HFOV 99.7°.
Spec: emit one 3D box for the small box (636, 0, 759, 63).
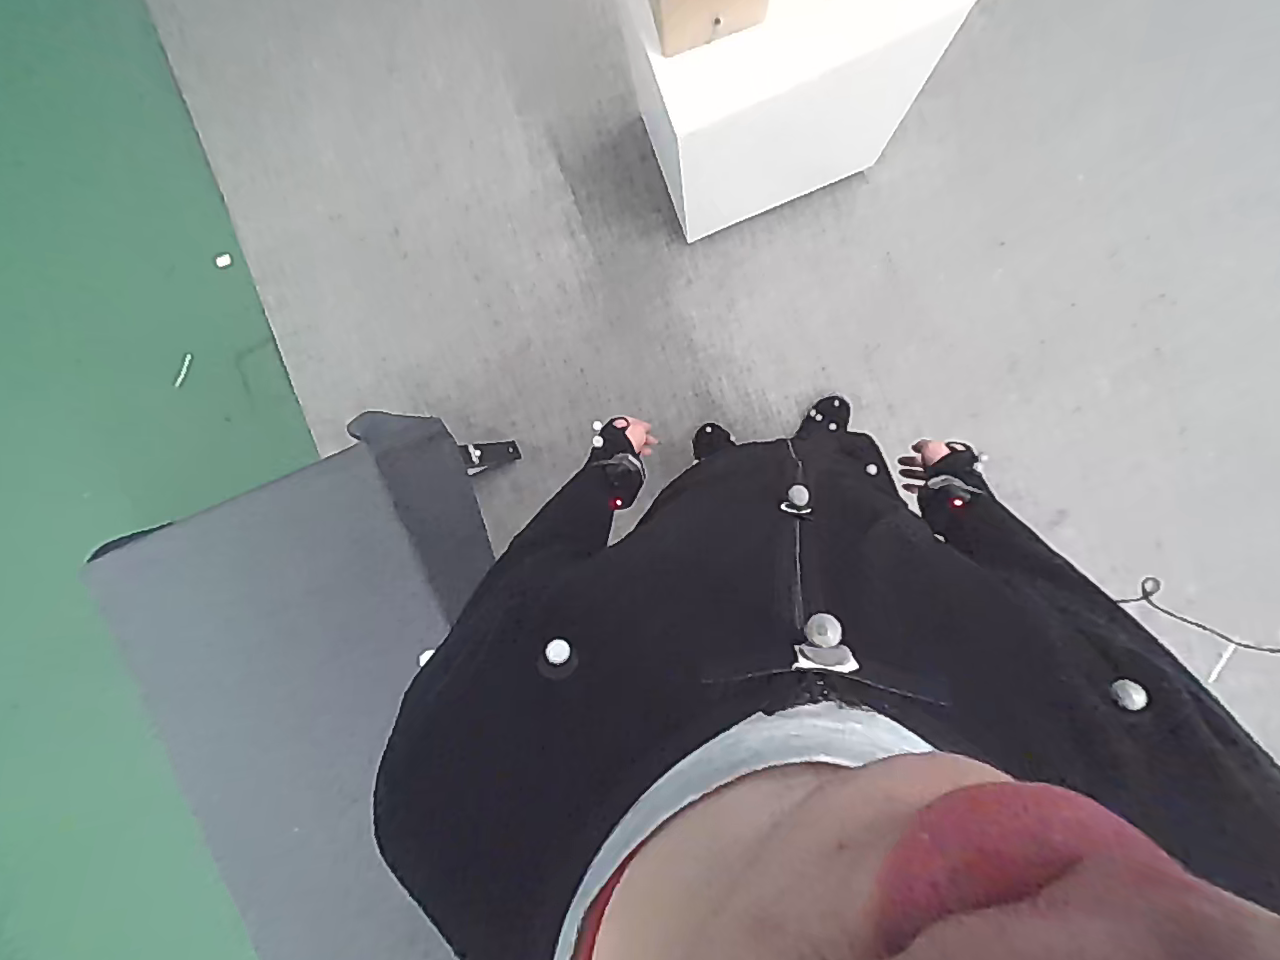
[{"bbox_3d":[0.081,-0.778,0.801,0.179,0.176,0.168,-17,92,5],"label":"small box"}]
